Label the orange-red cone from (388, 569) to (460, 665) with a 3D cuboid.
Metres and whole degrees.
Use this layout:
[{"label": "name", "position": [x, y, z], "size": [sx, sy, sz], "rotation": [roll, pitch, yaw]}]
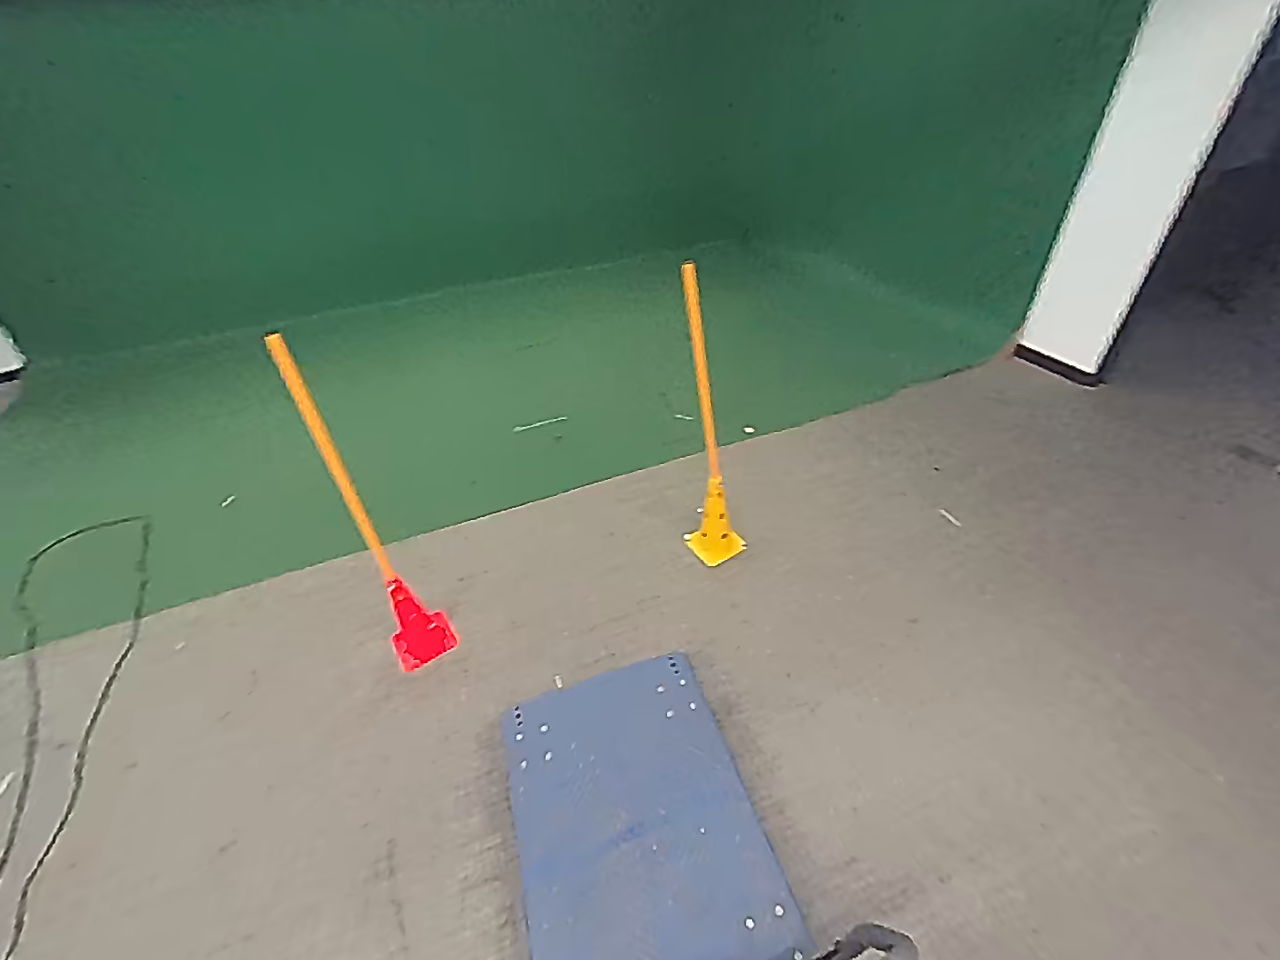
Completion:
[{"label": "orange-red cone", "position": [-0.799, 0.445, 1.891], "size": [0.199, 0.360, 0.198], "rotation": [-28, 44, -23]}]
